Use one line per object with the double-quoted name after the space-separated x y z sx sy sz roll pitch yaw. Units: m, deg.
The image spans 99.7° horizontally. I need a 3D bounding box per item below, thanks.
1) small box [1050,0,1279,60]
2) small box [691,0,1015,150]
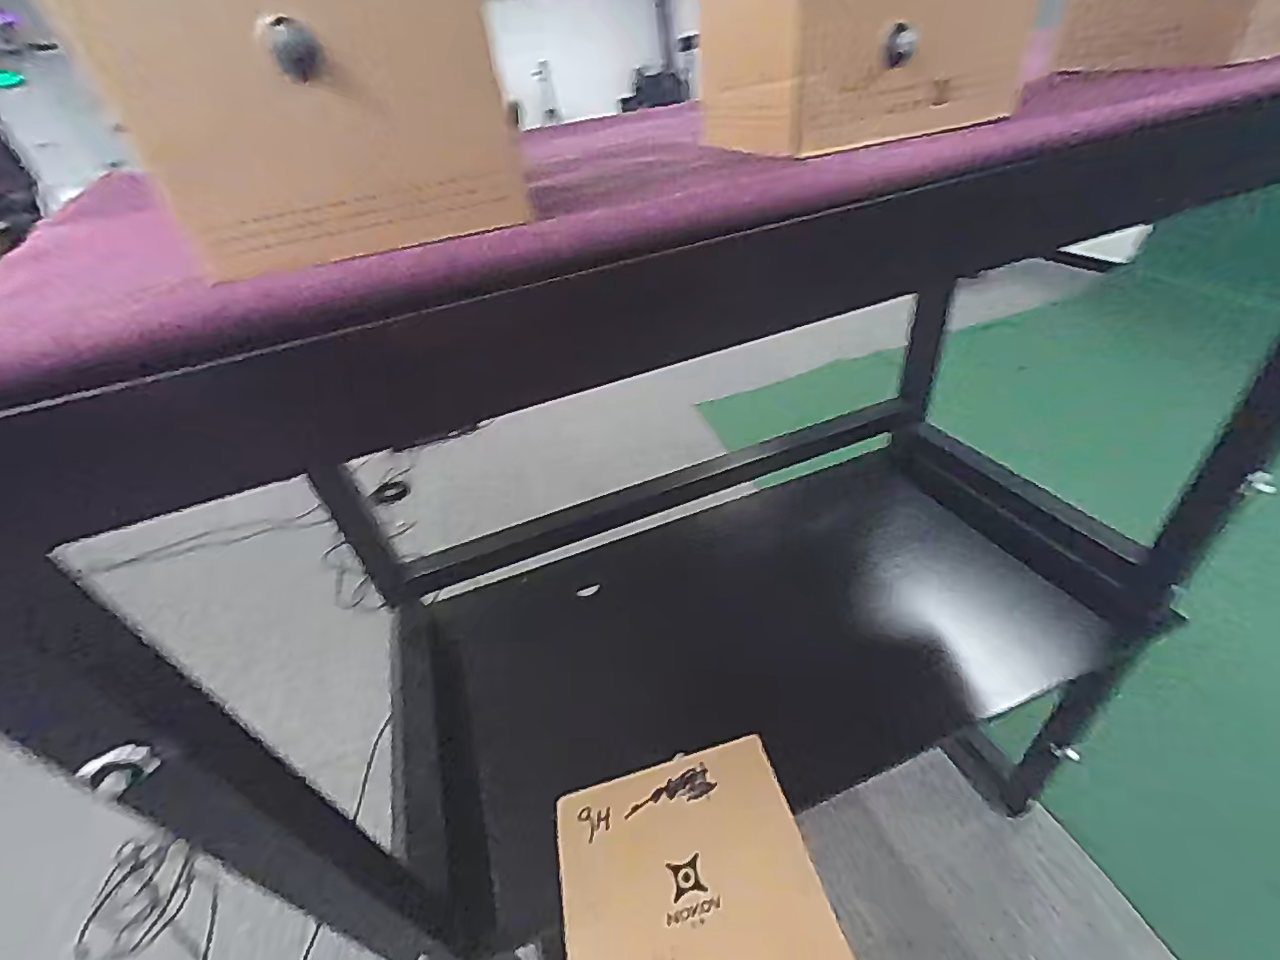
0.498 -0.468 0.450 0.168 0.176 0.179 -16 39 -7 "small box"
0.137 -0.347 0.386 0.168 0.176 0.179 -16 37 -8 "small box"
